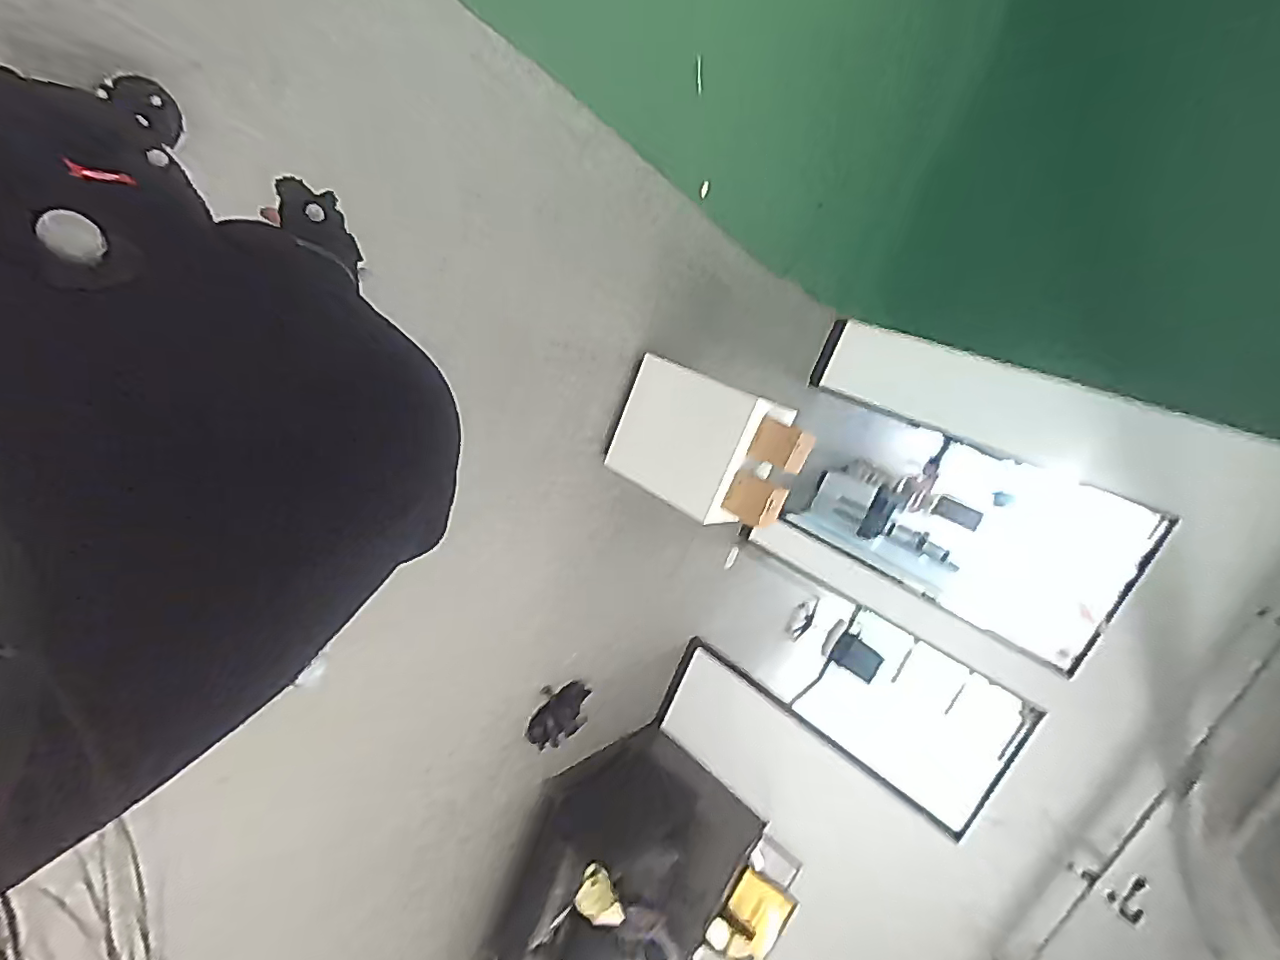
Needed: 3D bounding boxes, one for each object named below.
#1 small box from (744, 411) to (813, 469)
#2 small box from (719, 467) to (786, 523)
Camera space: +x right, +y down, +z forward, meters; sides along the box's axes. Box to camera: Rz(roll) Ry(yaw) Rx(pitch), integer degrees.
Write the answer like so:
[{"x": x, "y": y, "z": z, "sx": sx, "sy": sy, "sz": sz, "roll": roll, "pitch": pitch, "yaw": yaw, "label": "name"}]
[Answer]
[{"x": 0.529, "y": -0.155, "z": 2.069, "sx": 0.179, "sy": 0.176, "sz": 0.168, "roll": 5, "pitch": 111, "yaw": -56, "label": "small box"}, {"x": 0.435, "y": 0.055, "z": 2.110, "sx": 0.179, "sy": 0.176, "sz": 0.168, "roll": 3, "pitch": 113, "yaw": -56, "label": "small box"}]
